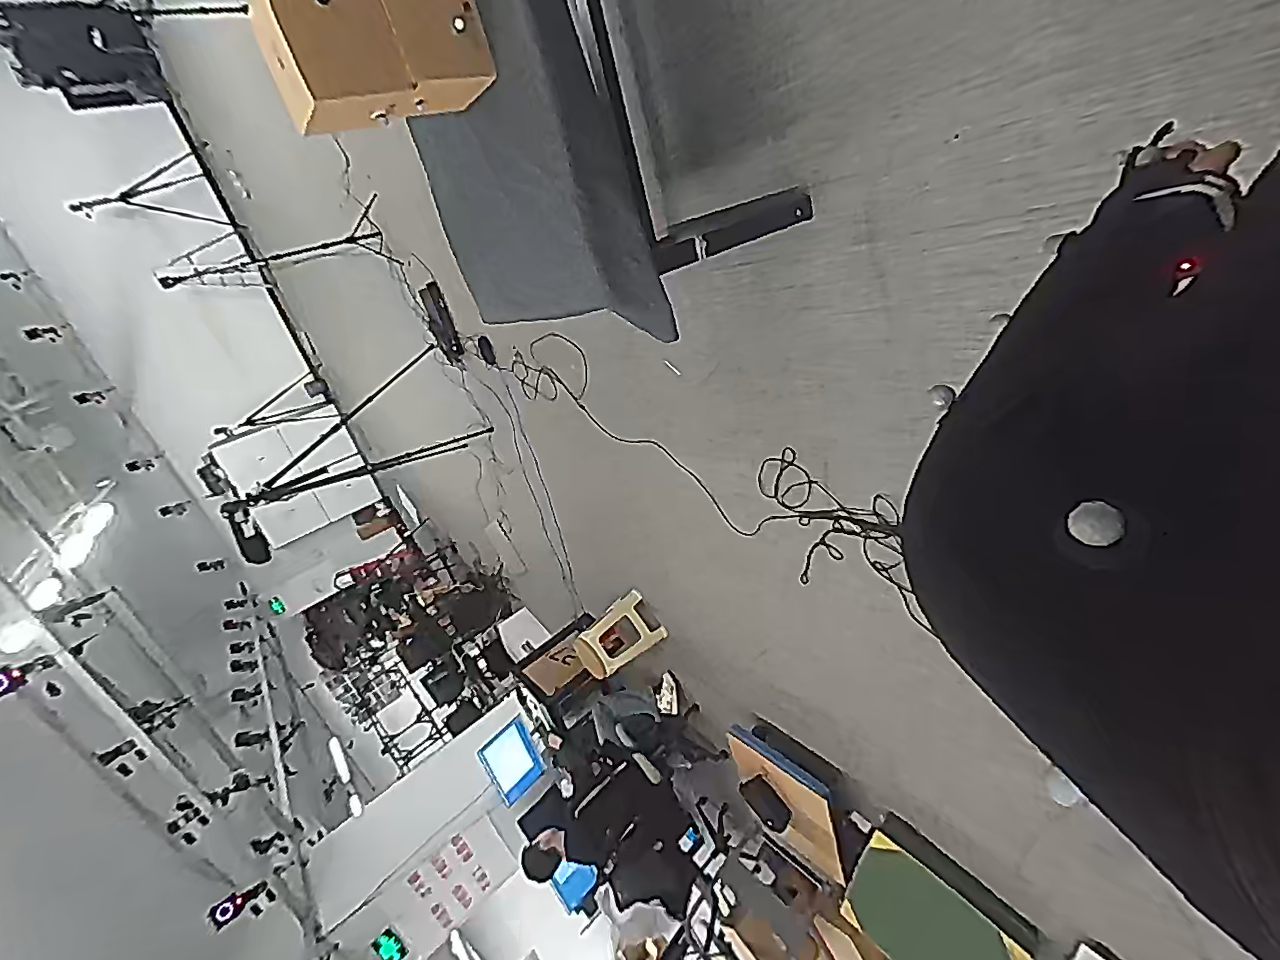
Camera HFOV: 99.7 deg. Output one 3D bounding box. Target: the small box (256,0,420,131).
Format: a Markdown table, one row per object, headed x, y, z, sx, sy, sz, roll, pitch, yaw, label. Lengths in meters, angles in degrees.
| x | y | z | sx | sy | sz | roll | pitch | yaw | label |
| --- | --- | --- | --- | --- | --- | --- | --- | --- | --- |
| -0.499 | -0.717 | 0.901 | 0.168 | 0.176 | 0.179 | 15 | 130 | 52 | small box |

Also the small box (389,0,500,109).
| x | y | z | sx | sy | sz | roll | pitch | yaw | label |
| --- | --- | --- | --- | --- | --- | --- | --- | --- | --- |
| -0.381 | -0.796 | 0.980 | 0.179 | 0.176 | 0.168 | 14 | 129 | 50 | small box |
